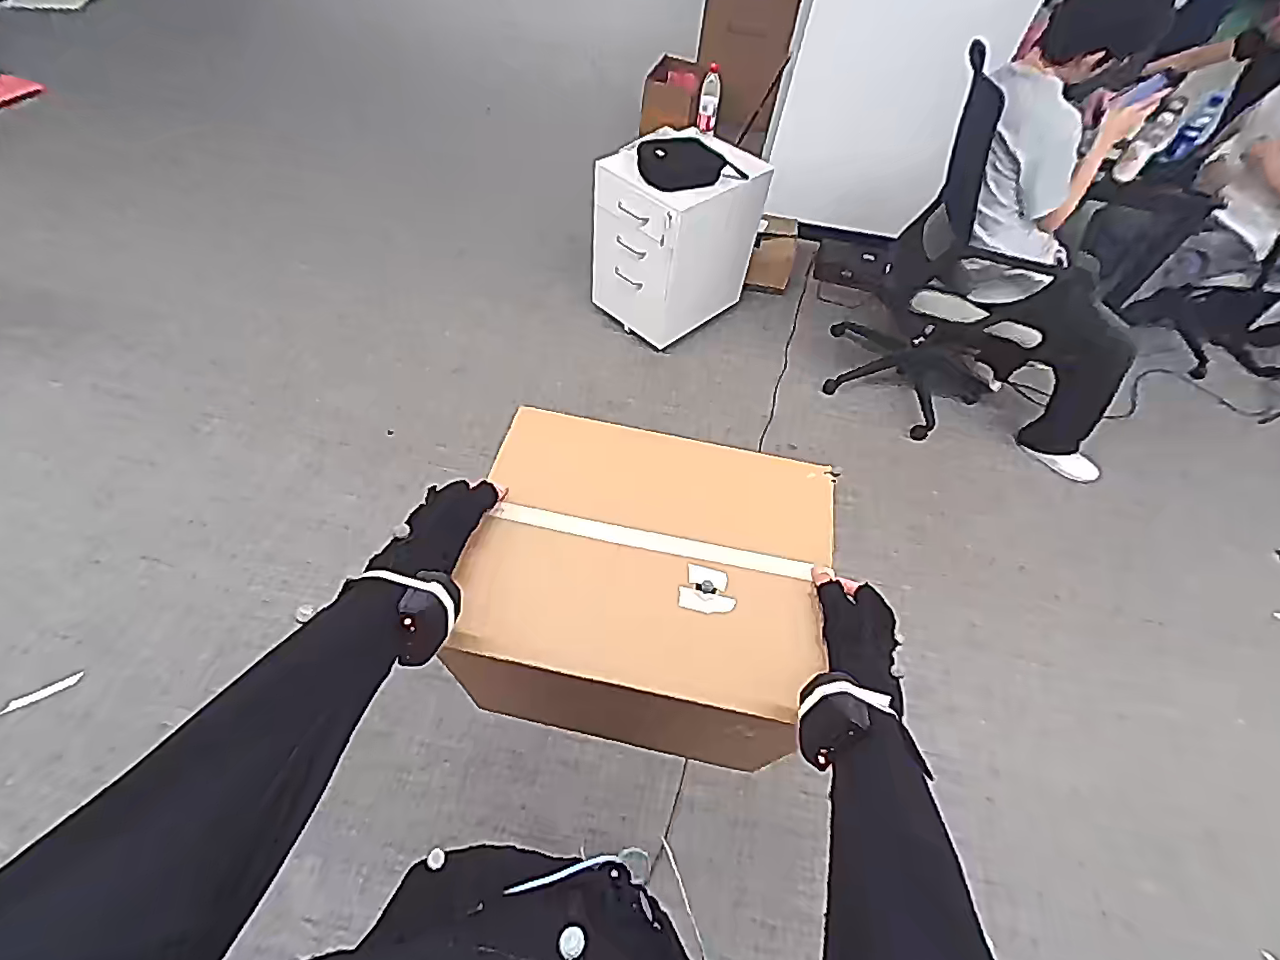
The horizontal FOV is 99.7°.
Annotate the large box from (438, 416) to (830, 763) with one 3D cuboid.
[{"bbox_3d":[0.004,0.158,0.736,0.408,0.320,0.320,12,56,3],"label":"large box"}]
